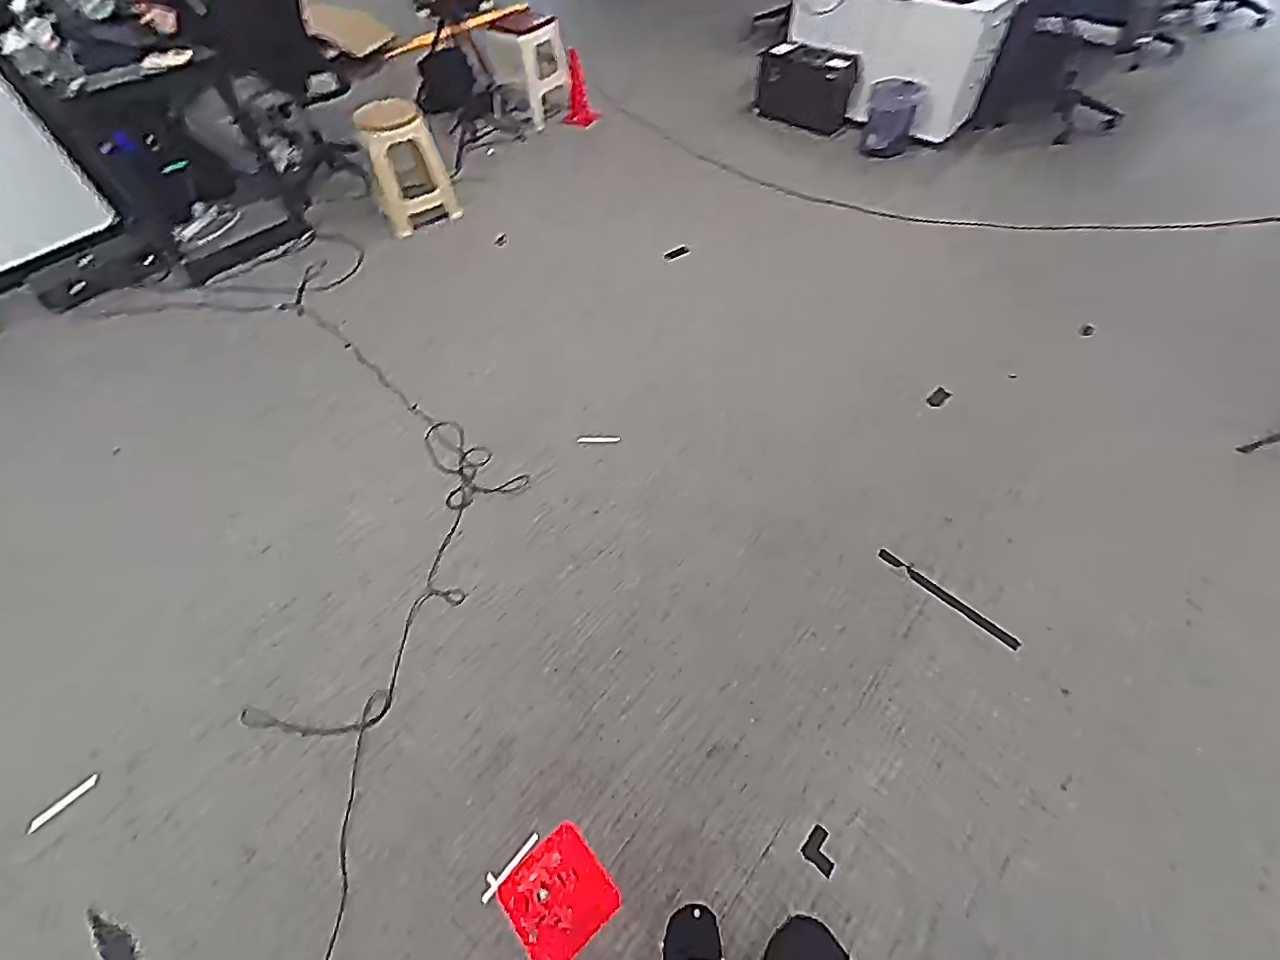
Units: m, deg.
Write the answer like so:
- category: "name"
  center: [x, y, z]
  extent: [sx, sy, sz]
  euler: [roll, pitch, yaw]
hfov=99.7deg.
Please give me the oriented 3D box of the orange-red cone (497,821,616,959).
- category: "orange-red cone"
  center: [-0.179, 0.758, 0.981]
  extent: [0.198, 0.360, 0.199]
  euler: [-35, 61, -20]
